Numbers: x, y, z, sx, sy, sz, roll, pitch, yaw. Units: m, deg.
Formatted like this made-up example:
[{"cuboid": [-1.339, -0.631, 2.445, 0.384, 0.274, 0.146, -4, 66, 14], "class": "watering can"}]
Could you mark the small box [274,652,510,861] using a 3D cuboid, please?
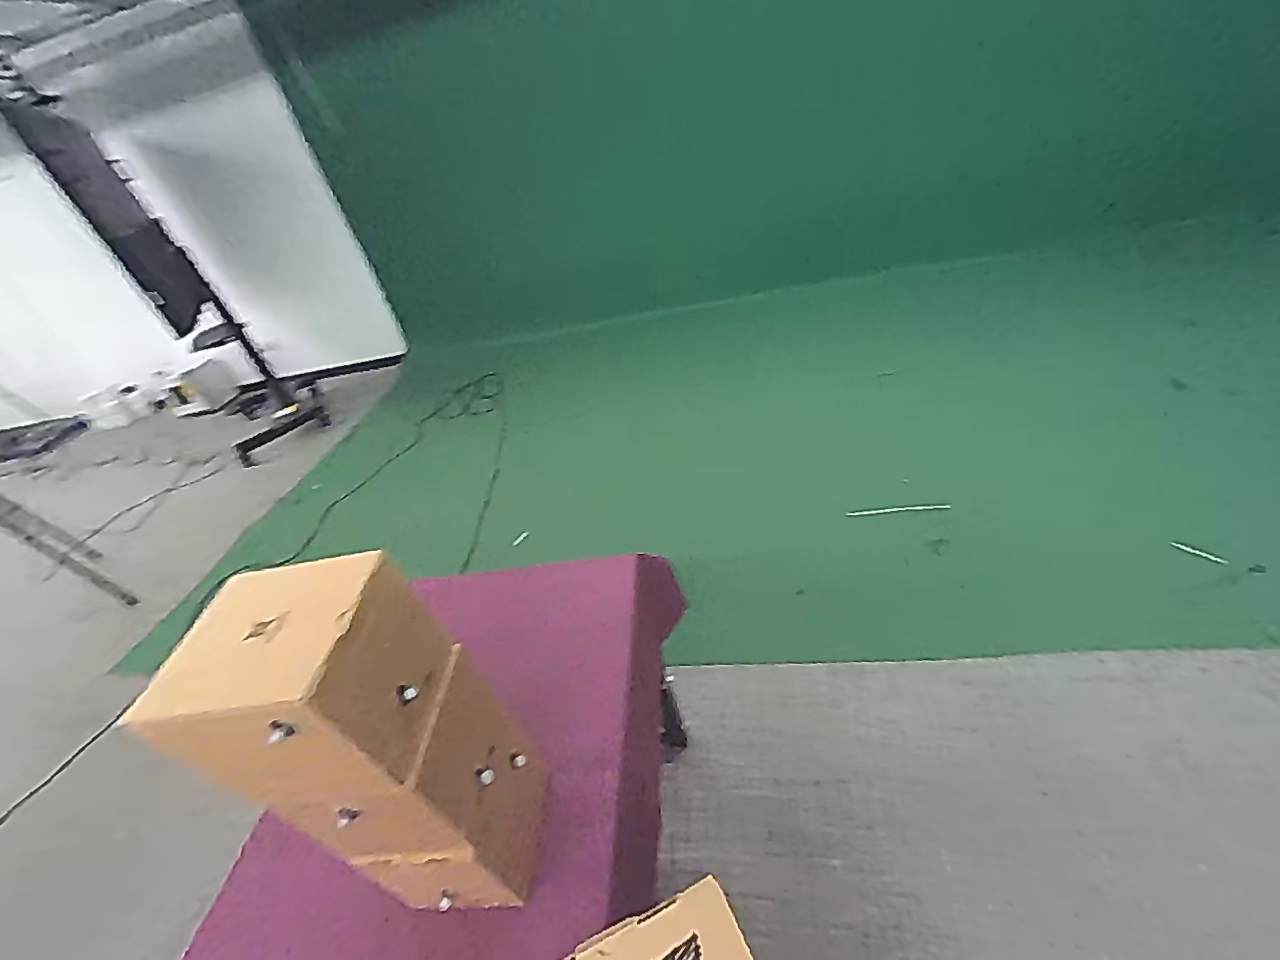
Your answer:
[{"cuboid": [-0.280, 0.331, 0.645, 0.179, 0.176, 0.168, -9, 37, 9], "class": "small box"}]

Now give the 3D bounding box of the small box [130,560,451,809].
[{"cuboid": [-0.324, 0.209, 0.548, 0.179, 0.176, 0.168, -11, 37, 7], "class": "small box"}]

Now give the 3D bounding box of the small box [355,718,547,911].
[{"cuboid": [-0.239, 0.456, 0.740, 0.168, 0.176, 0.179, -10, 37, 11], "class": "small box"}]
